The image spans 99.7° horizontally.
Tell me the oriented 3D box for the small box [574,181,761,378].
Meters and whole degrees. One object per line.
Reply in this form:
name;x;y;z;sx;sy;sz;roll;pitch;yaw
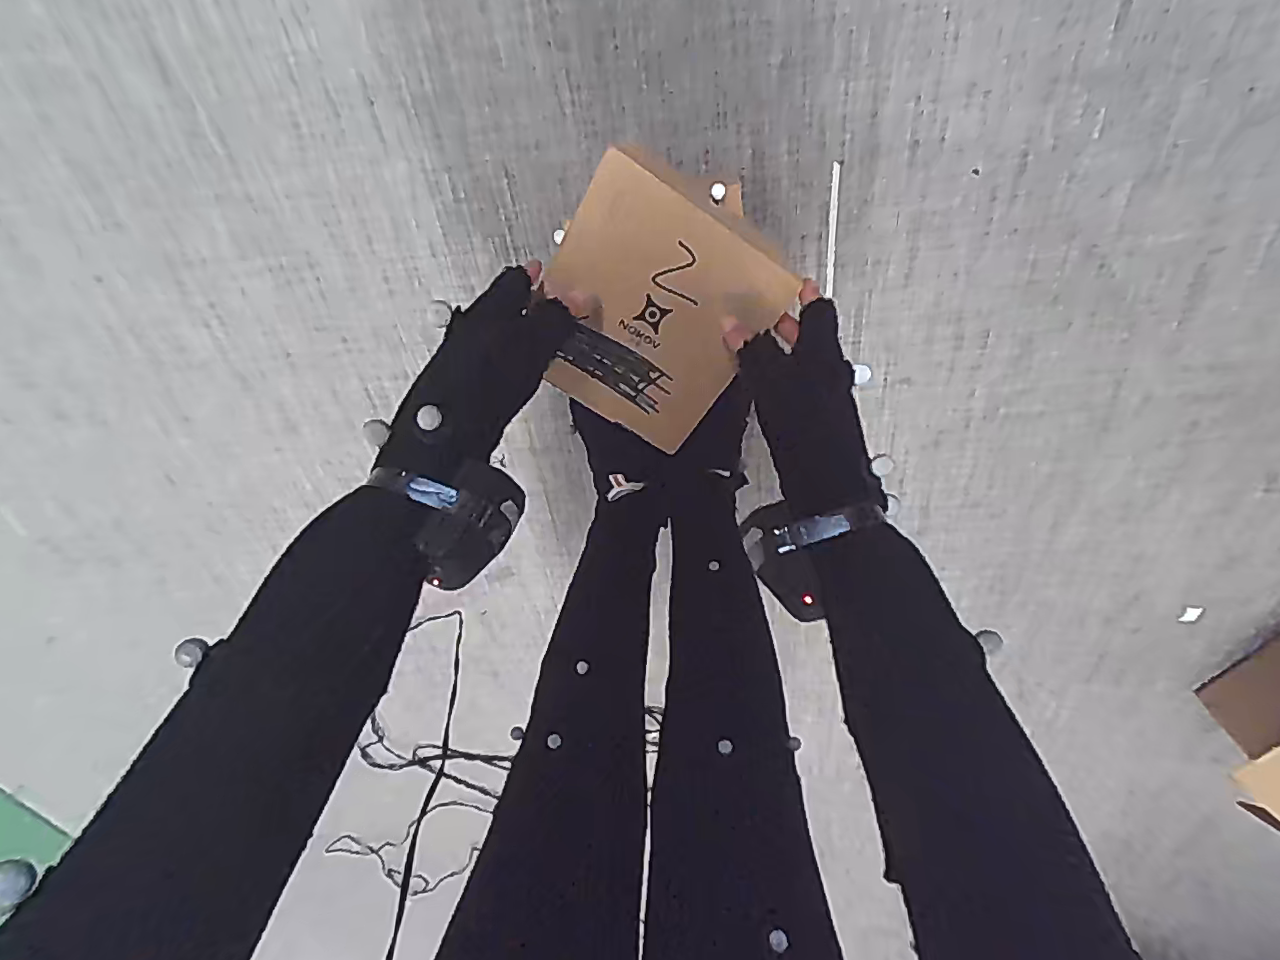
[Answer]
small box;0.038;-0.237;0.628;0.179;0.176;0.168;-7;121;10
